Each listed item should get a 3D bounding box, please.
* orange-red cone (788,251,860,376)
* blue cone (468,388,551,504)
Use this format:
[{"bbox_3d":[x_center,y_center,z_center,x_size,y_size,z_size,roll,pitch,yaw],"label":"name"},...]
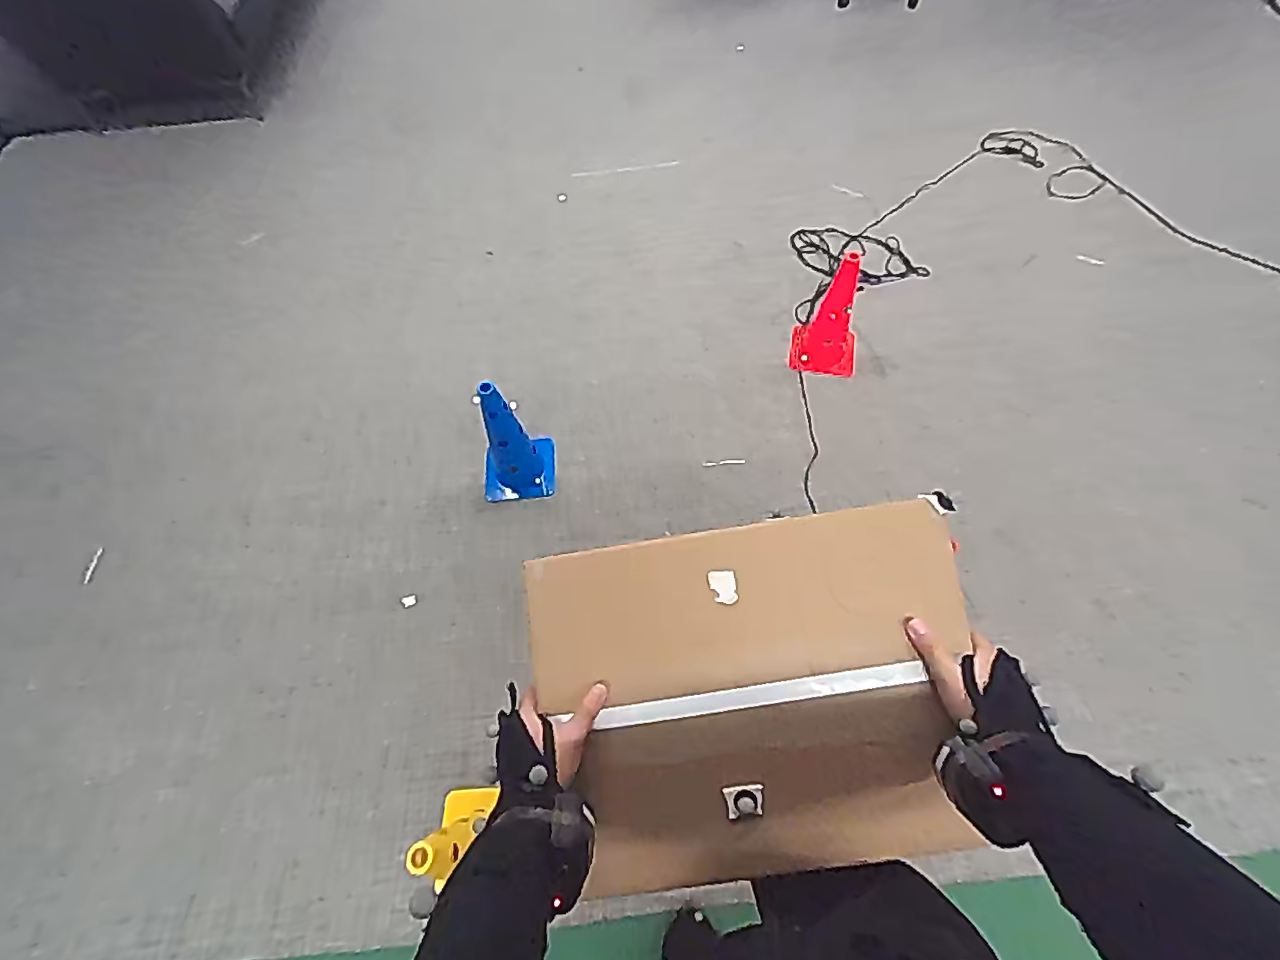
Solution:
[{"bbox_3d":[0.574,-0.503,1.576,0.199,0.360,0.198,12,61,10],"label":"orange-red cone"},{"bbox_3d":[-0.363,-0.107,1.423,0.192,0.380,0.193,-6,58,1],"label":"blue cone"}]
